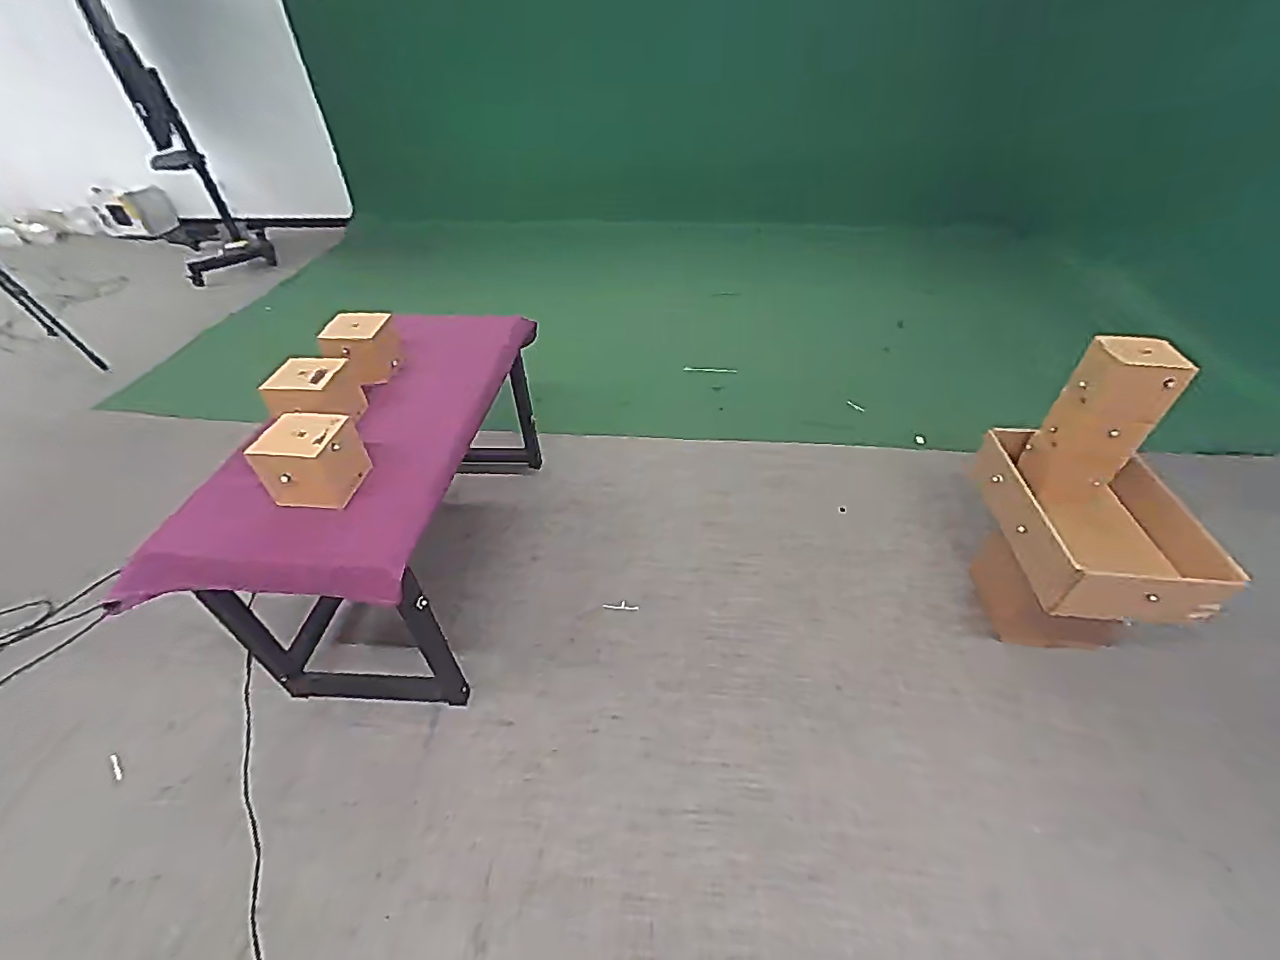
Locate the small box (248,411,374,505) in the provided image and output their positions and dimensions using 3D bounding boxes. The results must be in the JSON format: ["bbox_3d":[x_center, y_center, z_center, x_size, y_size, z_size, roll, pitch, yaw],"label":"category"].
[{"bbox_3d":[-0.799,-0.054,1.334,0.179,0.176,0.168,3,43,5],"label":"small box"}]

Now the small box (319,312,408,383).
[{"bbox_3d":[-0.885,-0.429,1.748,0.179,0.176,0.168,2,44,2],"label":"small box"}]

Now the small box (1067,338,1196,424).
[{"bbox_3d":[1.339,-0.270,1.490,0.179,0.176,0.168,7,42,8],"label":"small box"}]

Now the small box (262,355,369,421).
[{"bbox_3d":[-0.909,-0.237,1.538,0.179,0.176,0.168,1,42,4],"label":"small box"}]

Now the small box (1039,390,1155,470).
[{"bbox_3d":[1.339,-0.147,1.600,0.179,0.176,0.168,5,42,6],"label":"small box"}]
